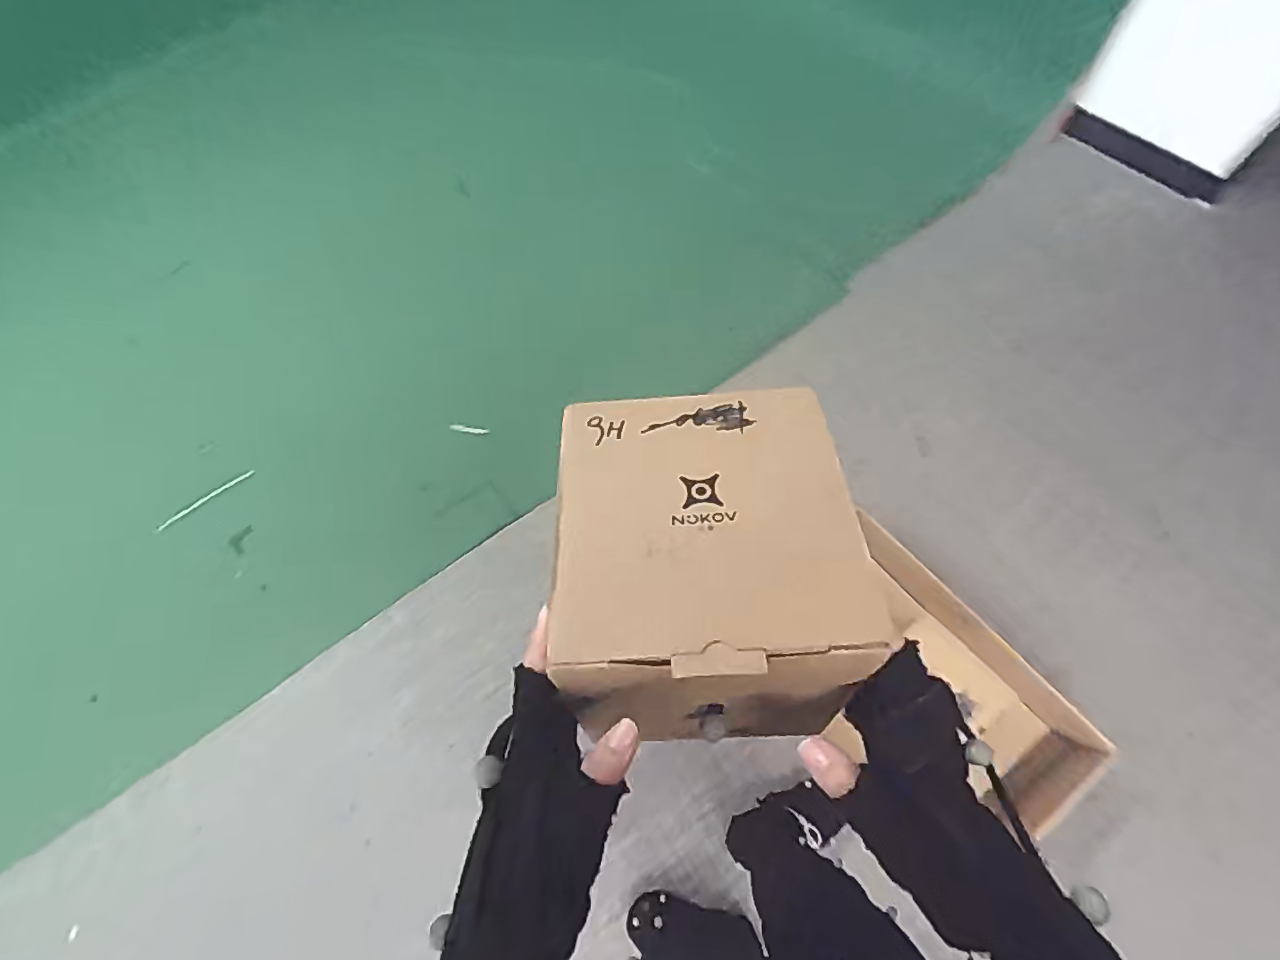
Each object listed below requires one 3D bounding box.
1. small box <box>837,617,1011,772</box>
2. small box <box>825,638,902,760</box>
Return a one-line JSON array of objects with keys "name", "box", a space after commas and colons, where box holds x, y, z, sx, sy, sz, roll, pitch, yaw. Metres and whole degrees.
[{"name": "small box", "box": [0.471, 0.364, 0.928, 0.168, 0.176, 0.179, -36, 66, -8]}, {"name": "small box", "box": [0.492, 0.428, 1.078, 0.179, 0.176, 0.168, -34, 67, -9]}]
